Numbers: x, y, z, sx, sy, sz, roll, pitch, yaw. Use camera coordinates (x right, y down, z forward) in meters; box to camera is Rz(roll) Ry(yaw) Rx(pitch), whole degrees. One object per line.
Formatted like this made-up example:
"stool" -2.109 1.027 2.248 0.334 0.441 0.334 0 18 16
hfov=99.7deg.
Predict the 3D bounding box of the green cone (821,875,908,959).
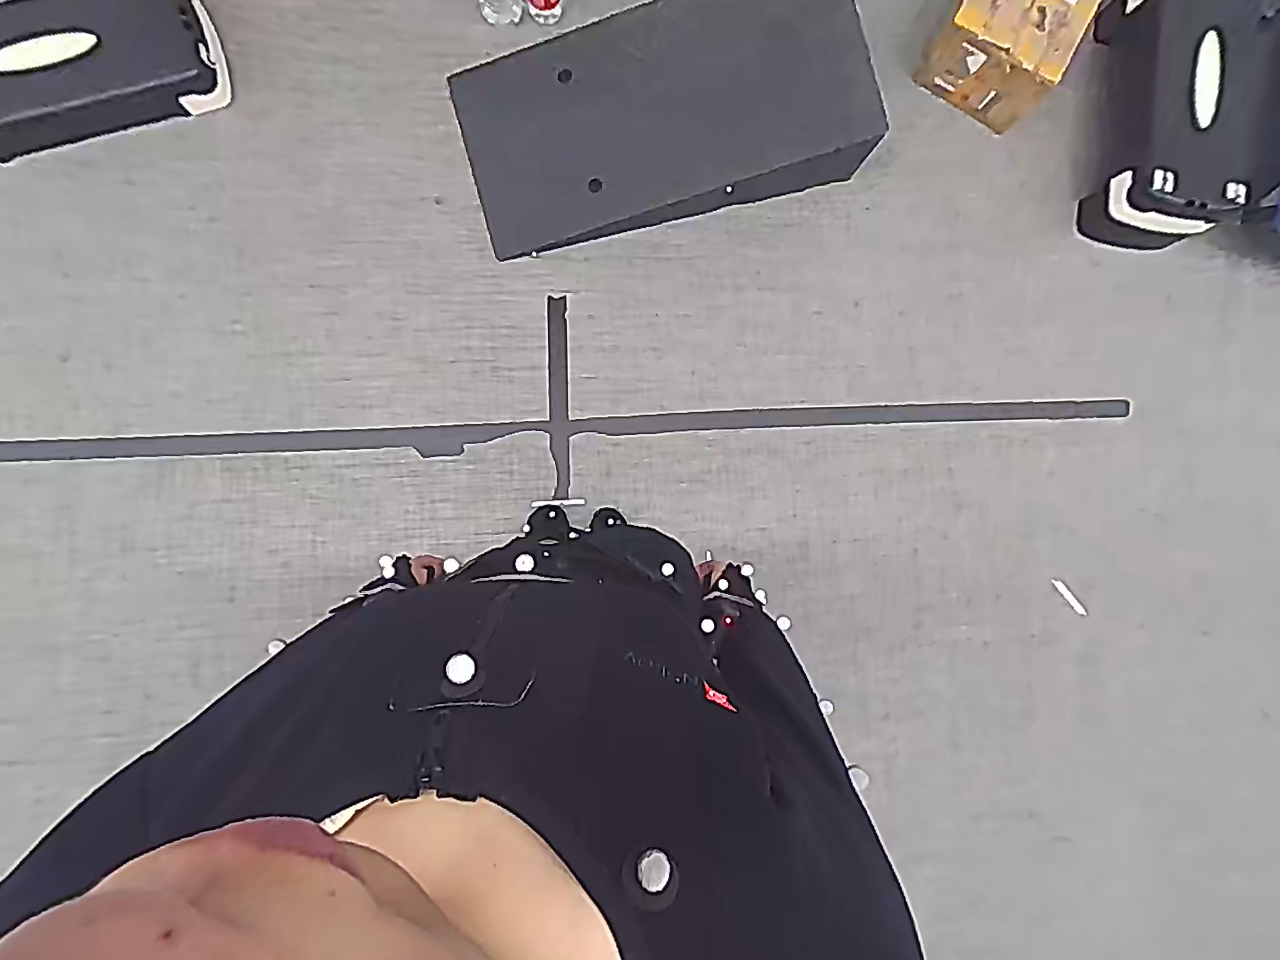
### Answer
"green cone" 0.589 1.143 1.231 0.200 0.368 0.202 -12 91 -5
